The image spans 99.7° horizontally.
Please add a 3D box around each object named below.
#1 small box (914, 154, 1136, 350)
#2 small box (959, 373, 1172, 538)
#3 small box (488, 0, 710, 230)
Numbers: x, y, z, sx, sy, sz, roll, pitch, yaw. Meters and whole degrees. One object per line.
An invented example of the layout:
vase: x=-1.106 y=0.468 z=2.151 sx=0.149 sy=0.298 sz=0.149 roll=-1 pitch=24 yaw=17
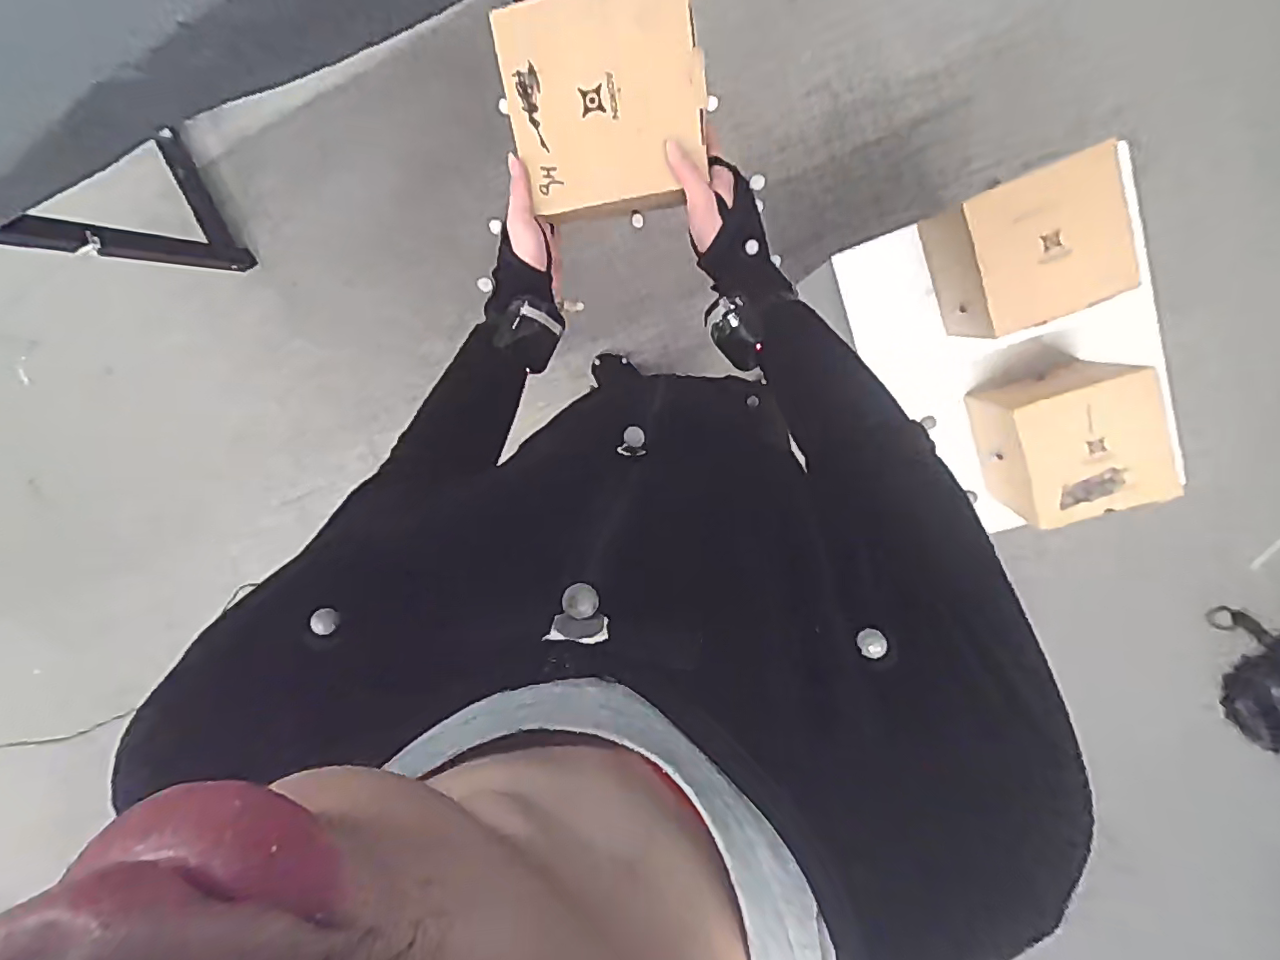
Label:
small box: x=0.496 y=-0.288 z=0.721 sx=0.168 sy=0.176 sz=0.179 roll=-20 pitch=100 yaw=12
small box: x=0.588 y=-0.043 z=0.769 sx=0.168 sy=0.176 sz=0.179 roll=-18 pitch=100 yaw=12
small box: x=-0.027 y=-0.358 z=0.545 sx=0.179 sy=0.176 sz=0.168 roll=-6 pitch=109 yaw=8
